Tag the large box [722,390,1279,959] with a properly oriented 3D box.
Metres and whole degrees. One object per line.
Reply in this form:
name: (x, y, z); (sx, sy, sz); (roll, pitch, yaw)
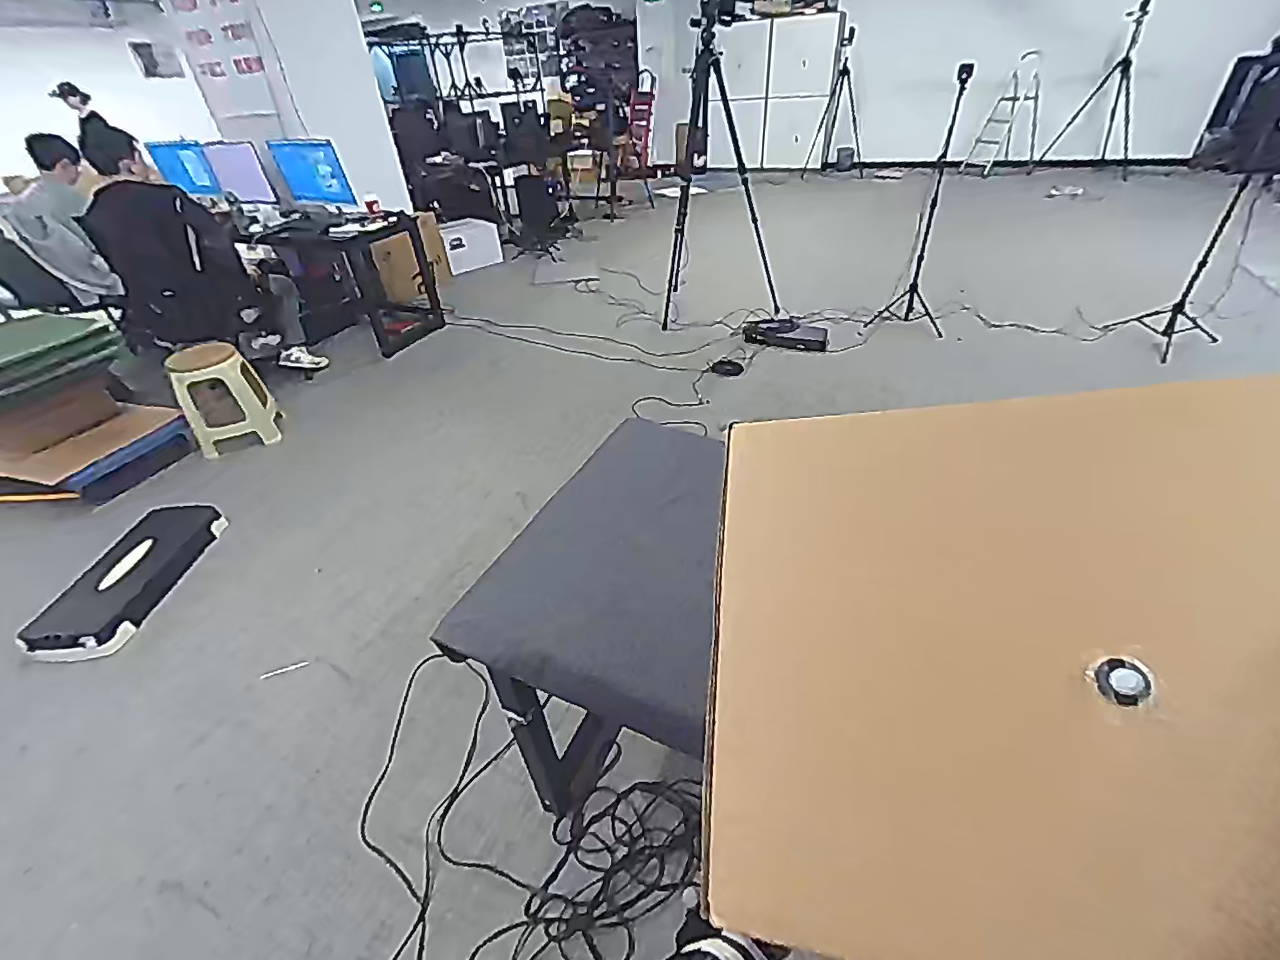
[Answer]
large box: (0.291, 0.151, 0.405); (0.408, 0.320, 0.320); (-4, 66, 21)
